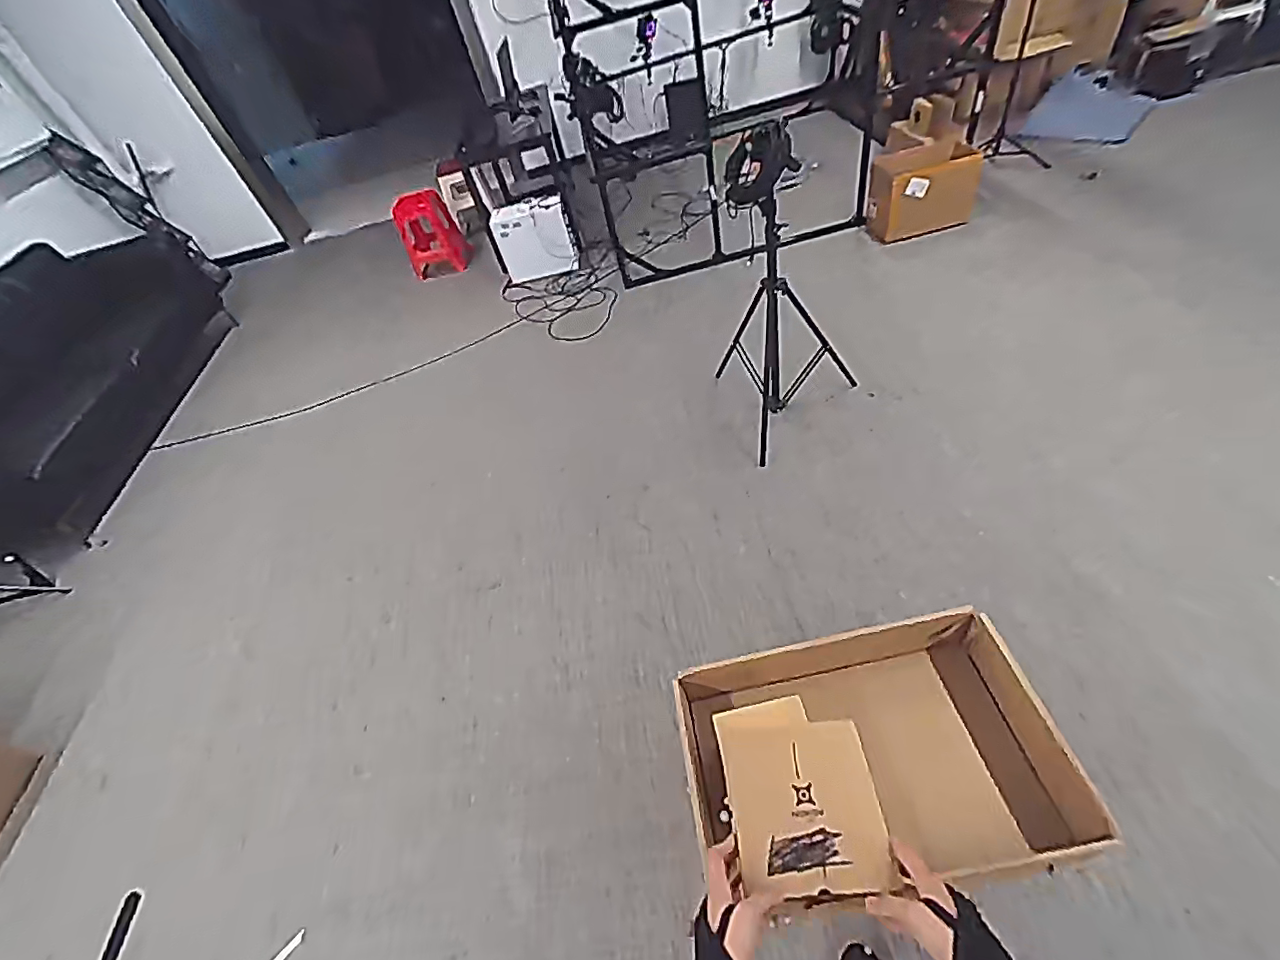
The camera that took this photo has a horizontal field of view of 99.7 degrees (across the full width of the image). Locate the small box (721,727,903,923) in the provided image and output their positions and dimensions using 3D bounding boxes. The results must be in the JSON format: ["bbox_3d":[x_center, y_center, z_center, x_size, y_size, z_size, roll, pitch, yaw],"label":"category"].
[{"bbox_3d":[0.196,0.427,0.664,0.168,0.176,0.179,-8,46,4],"label":"small box"}]

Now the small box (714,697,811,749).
[{"bbox_3d":[0.241,0.528,0.986,0.168,0.176,0.179,-16,47,4],"label":"small box"}]
